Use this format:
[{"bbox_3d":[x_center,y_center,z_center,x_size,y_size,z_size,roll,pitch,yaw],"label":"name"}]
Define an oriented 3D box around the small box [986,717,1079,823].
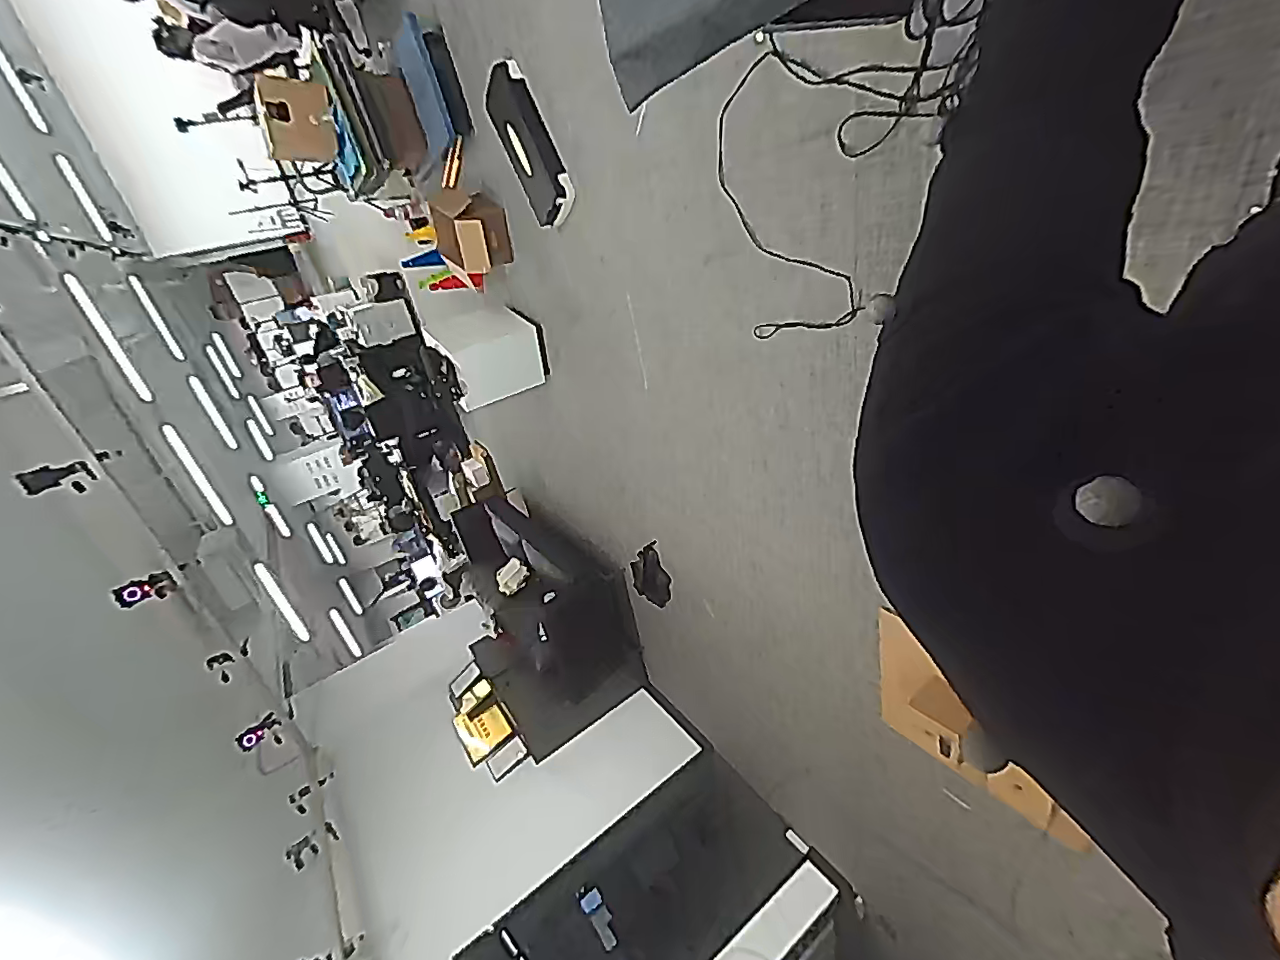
[{"bbox_3d":[1.155,0.847,1.592,0.168,0.176,0.179,24,134,51],"label":"small box"}]
